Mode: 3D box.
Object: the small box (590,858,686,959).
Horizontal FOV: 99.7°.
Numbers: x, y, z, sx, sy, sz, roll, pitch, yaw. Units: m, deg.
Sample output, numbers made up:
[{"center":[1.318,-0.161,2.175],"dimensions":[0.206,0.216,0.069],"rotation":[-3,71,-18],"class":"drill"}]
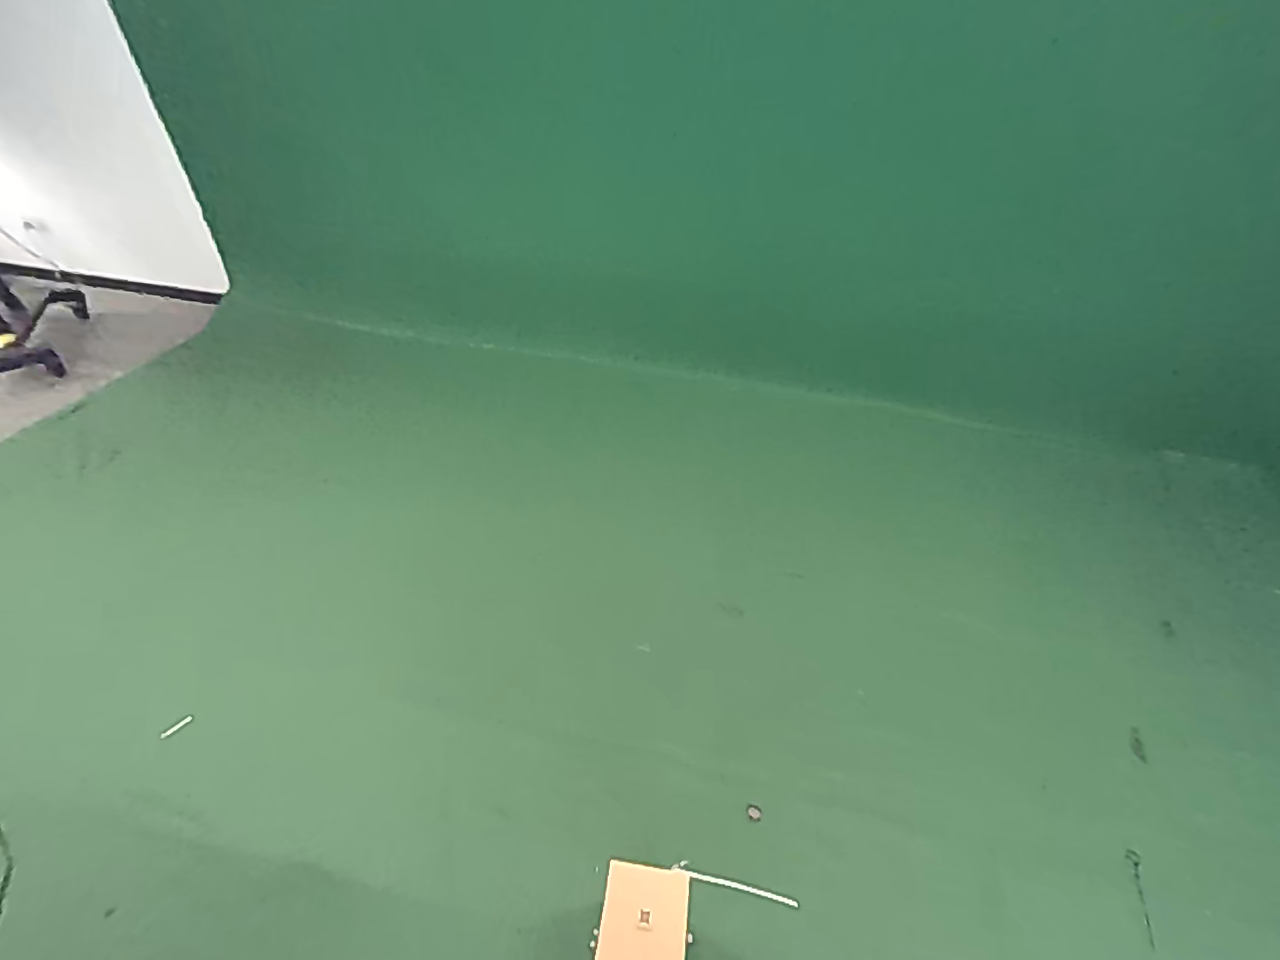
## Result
[{"center":[-0.005,0.902,1.091],"dimensions":[0.168,0.176,0.179],"rotation":[8,42,3],"class":"small box"}]
